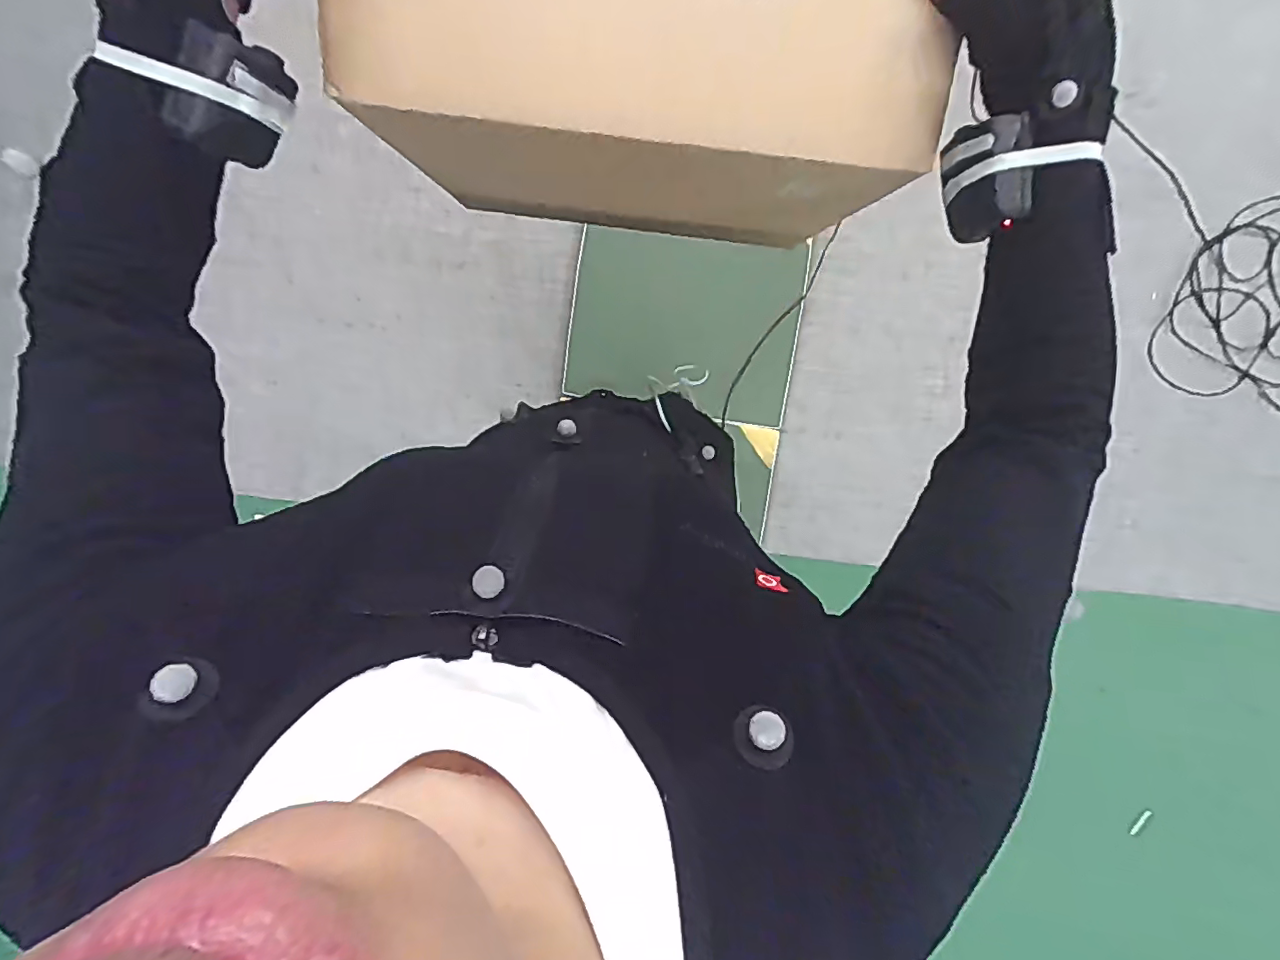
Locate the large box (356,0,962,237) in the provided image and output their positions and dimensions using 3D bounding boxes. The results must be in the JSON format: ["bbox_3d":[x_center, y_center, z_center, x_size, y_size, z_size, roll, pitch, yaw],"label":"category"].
[{"bbox_3d":[0.015,-0.424,0.478,0.408,0.320,0.320,5,105,-4],"label":"large box"}]
